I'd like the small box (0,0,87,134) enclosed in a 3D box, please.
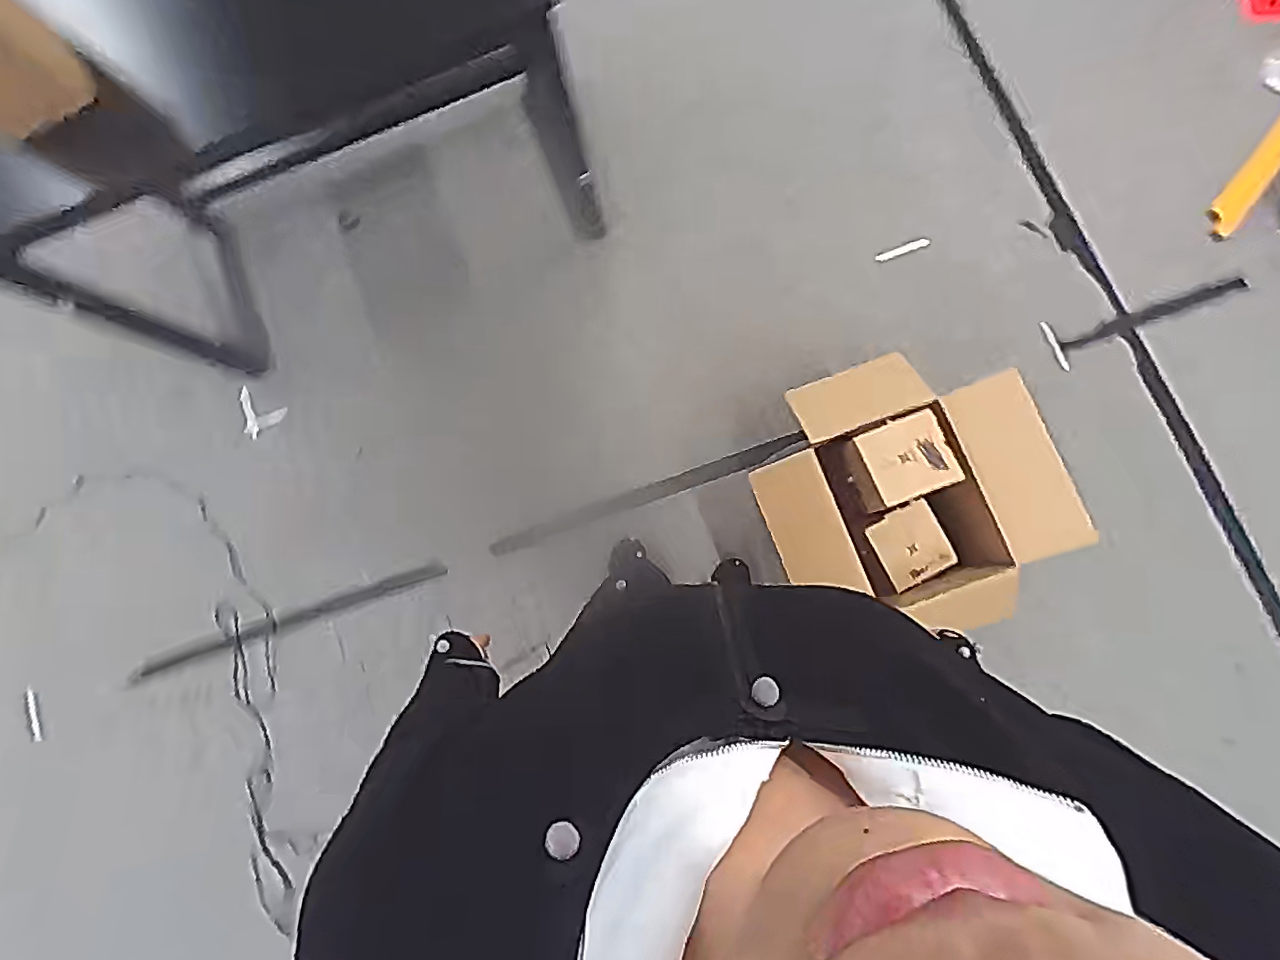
[{"bbox_3d":[-1.066,-0.720,0.877,0.179,0.176,0.168,-28,82,1],"label":"small box"}]
